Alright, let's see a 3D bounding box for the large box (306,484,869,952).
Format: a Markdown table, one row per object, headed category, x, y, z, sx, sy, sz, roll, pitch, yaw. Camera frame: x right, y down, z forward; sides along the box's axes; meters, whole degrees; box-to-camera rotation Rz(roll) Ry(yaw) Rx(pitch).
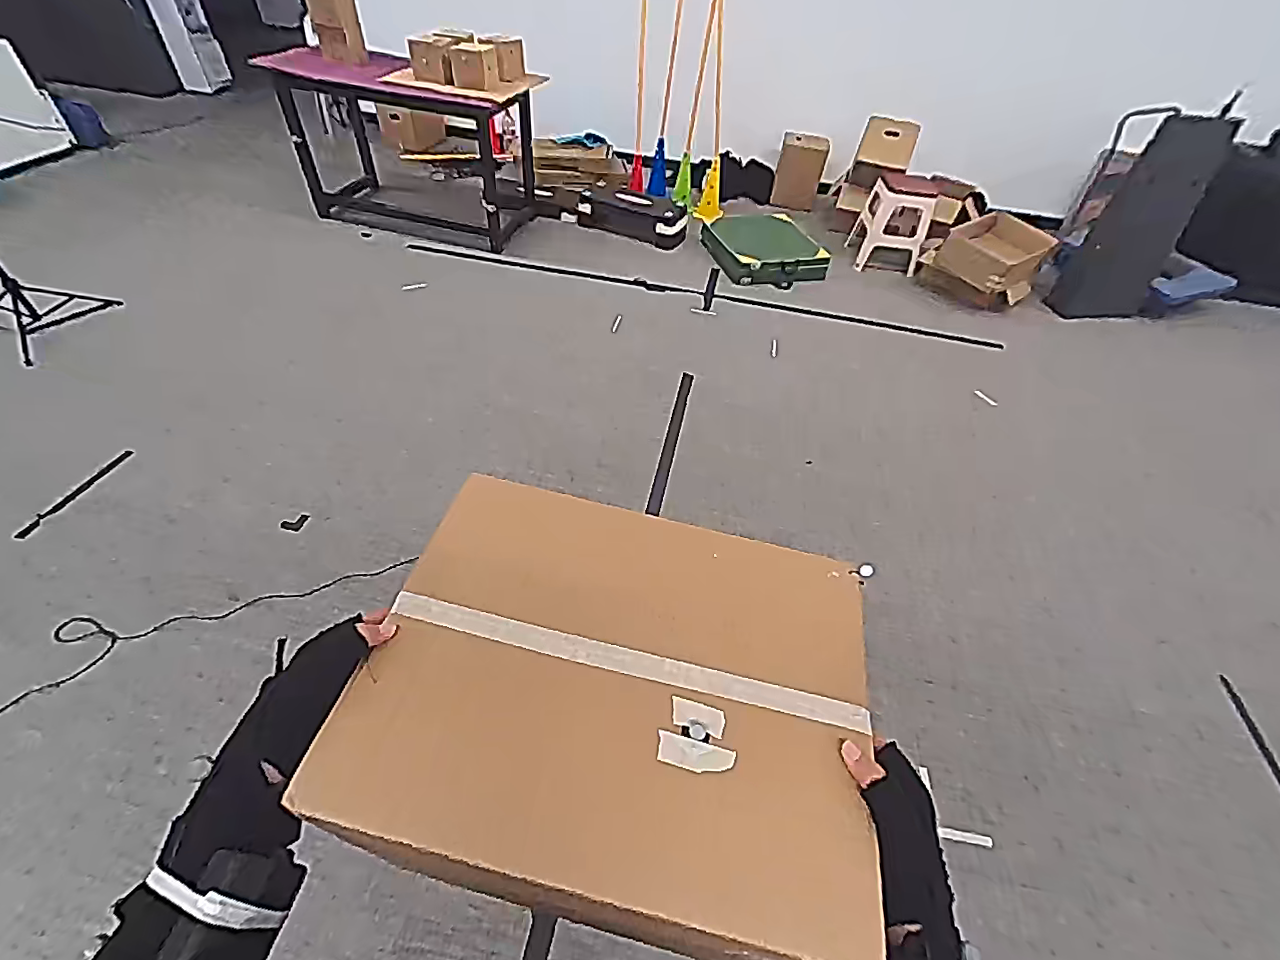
| category | x | y | z | sx | sy | sz | roll | pitch | yaw |
| --- | --- | --- | --- | --- | --- | --- | --- | --- | --- |
| large box | -0.030 | 0.252 | 0.573 | 0.408 | 0.320 | 0.320 | 13 | 49 | 3 |
